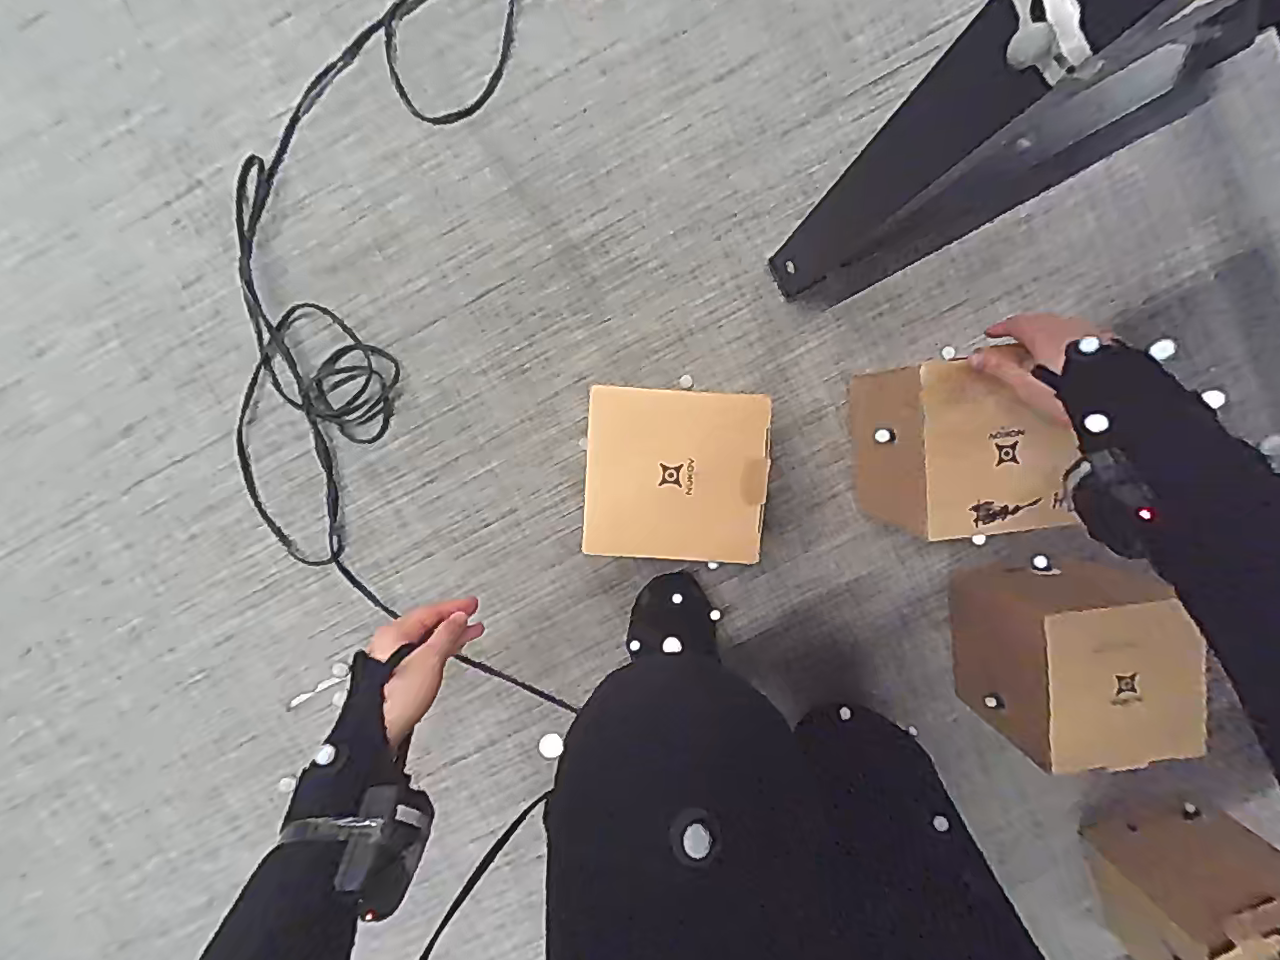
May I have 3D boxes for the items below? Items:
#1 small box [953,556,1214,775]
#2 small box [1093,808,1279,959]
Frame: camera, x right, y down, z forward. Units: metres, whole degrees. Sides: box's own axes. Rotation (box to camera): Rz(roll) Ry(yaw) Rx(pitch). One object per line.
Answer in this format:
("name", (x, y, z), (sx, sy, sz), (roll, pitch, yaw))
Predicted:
("small box", (0.489, 0.199, 0.621), (0.168, 0.176, 0.179), (-7, 95, 0))
("small box", (0.709, 0.540, 0.658), (0.168, 0.176, 0.179), (-22, 97, 2))
